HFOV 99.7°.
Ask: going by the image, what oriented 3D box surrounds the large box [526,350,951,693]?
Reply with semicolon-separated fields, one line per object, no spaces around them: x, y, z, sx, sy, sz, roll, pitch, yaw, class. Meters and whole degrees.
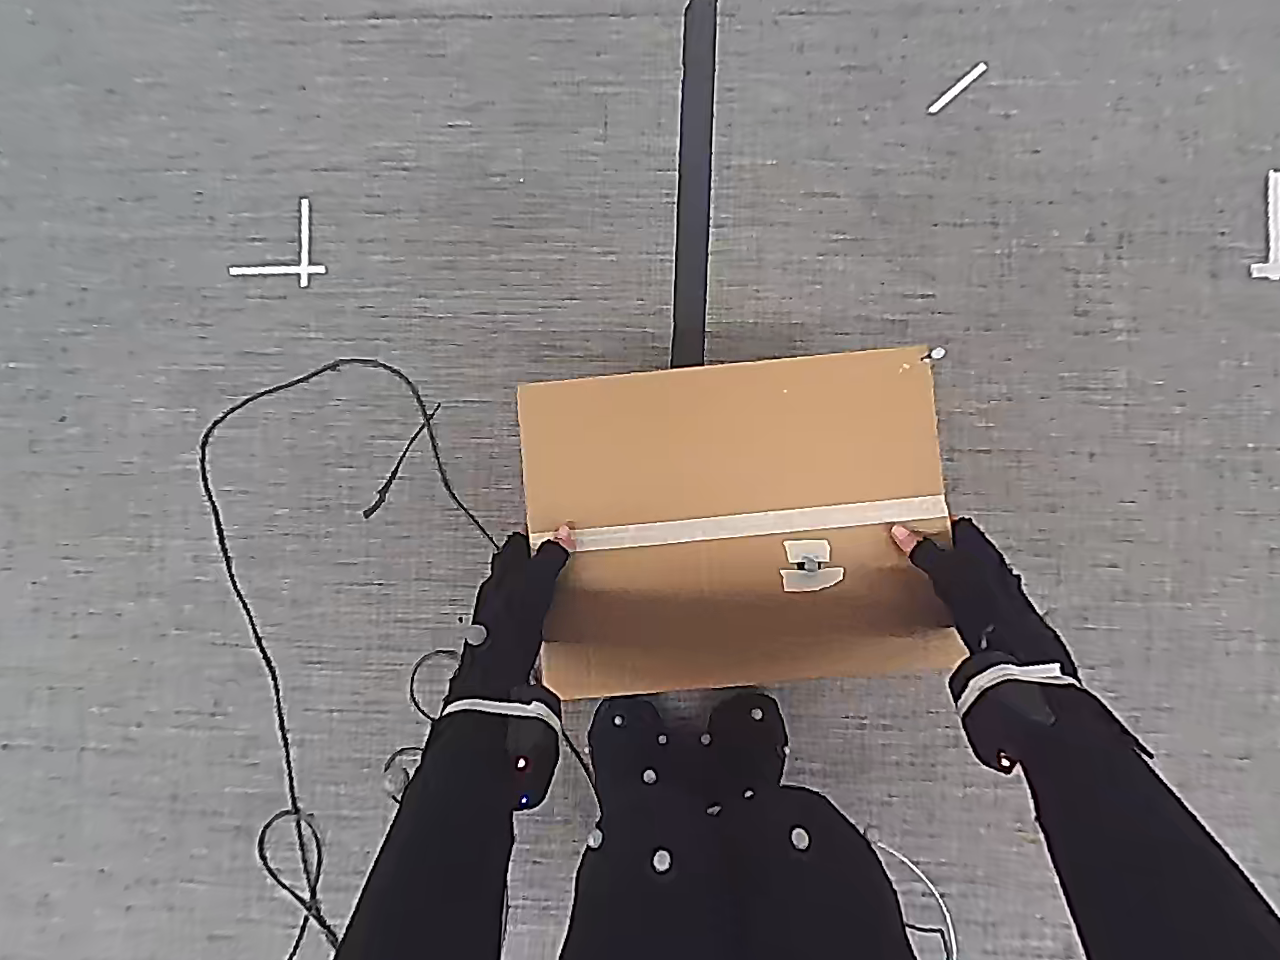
0.099;0.048;0.689;0.408;0.320;0.320;-5;89;2;large box
